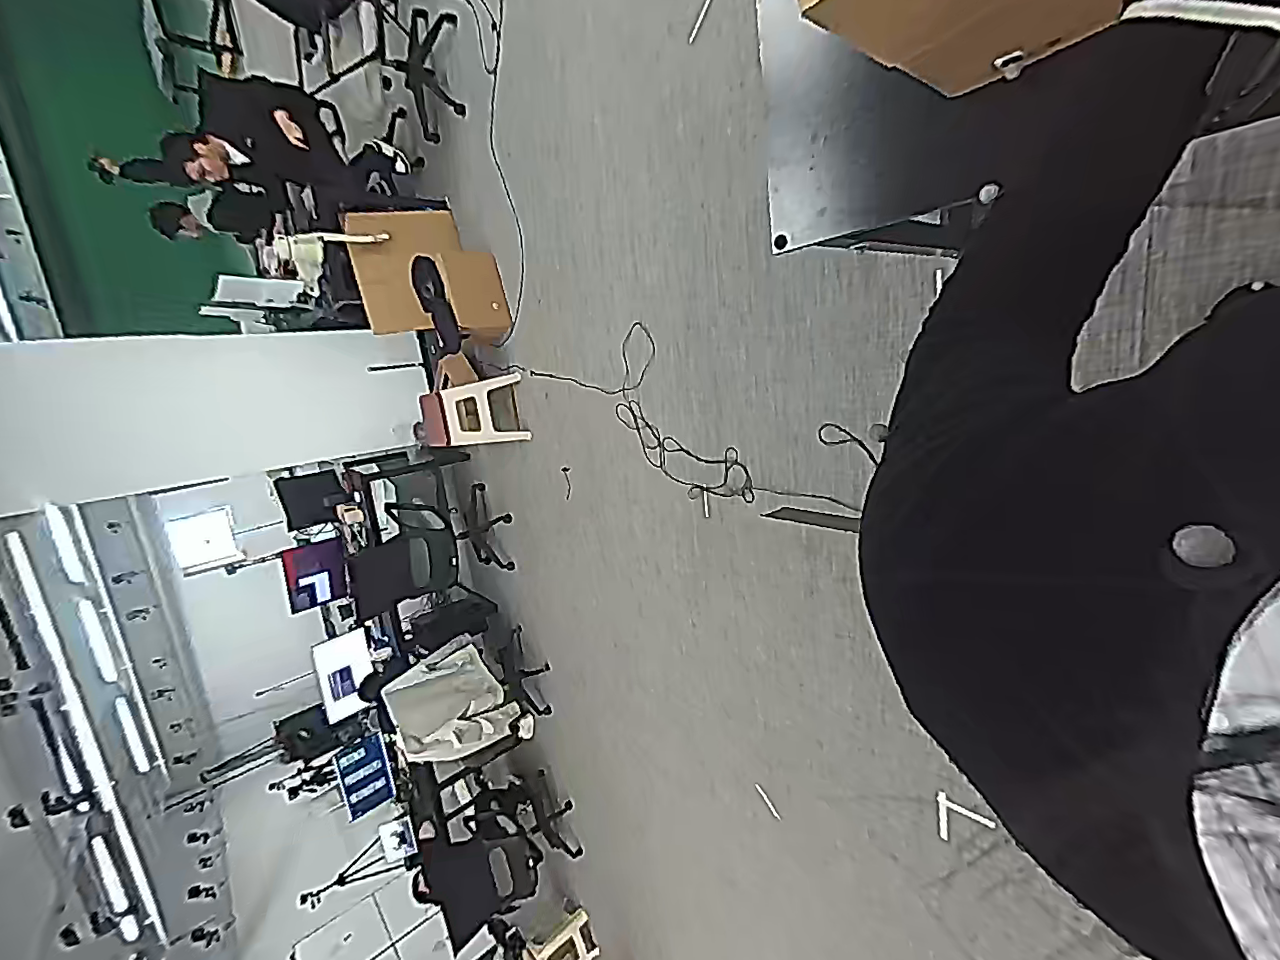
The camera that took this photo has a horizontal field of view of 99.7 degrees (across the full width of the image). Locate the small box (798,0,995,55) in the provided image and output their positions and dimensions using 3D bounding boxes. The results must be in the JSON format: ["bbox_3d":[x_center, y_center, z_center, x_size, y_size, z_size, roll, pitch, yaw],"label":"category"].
[{"bbox_3d":[0.238,-0.488,0.429,0.179,0.176,0.168,0,103,51],"label":"small box"}]

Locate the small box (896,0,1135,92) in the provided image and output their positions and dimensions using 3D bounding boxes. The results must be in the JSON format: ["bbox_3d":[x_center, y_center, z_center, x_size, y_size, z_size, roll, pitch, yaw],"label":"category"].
[{"bbox_3d":[0.363,-0.528,0.530,0.168,0.176,0.179,1,105,51],"label":"small box"}]
